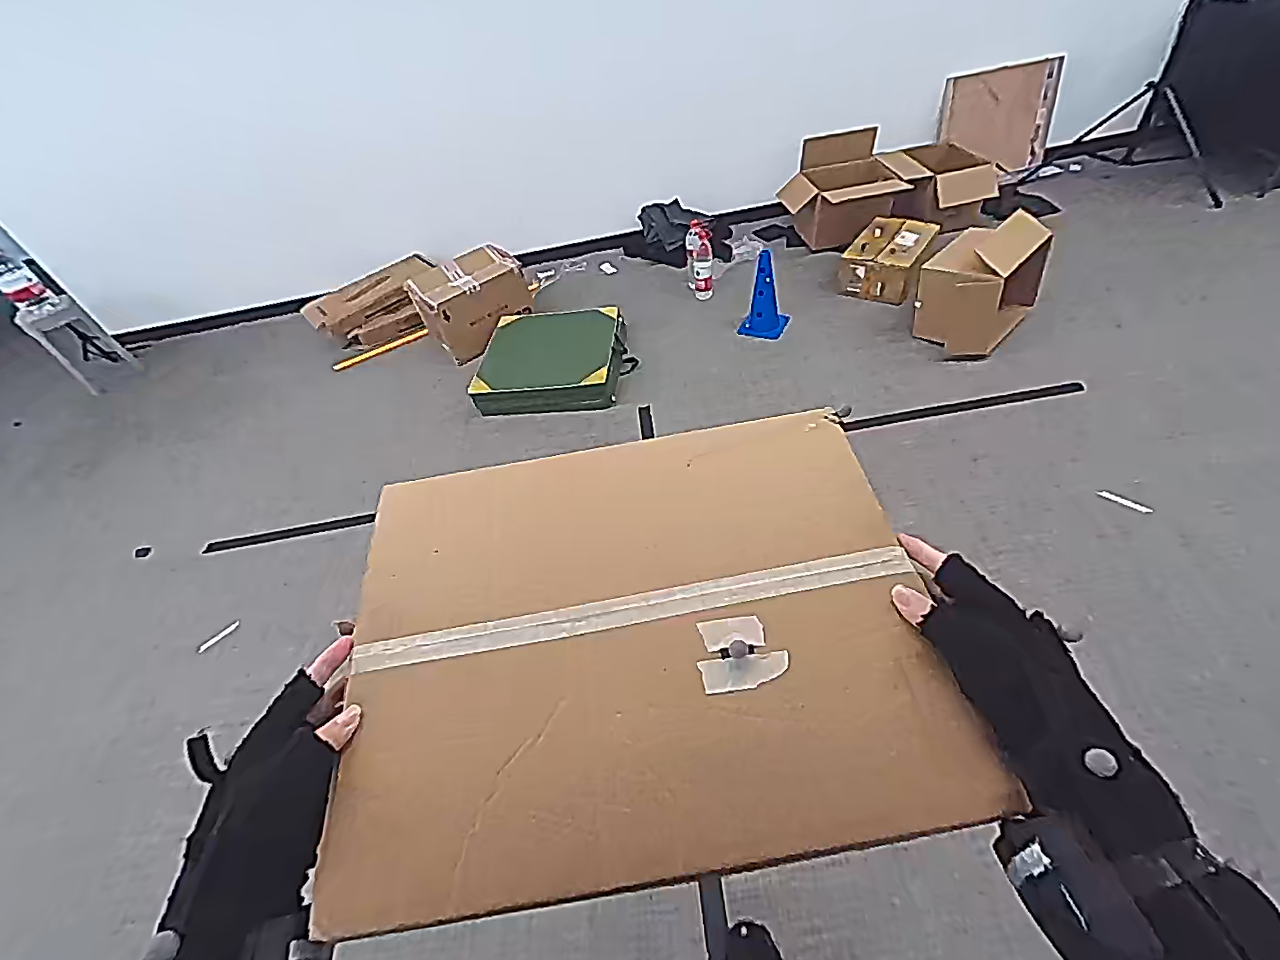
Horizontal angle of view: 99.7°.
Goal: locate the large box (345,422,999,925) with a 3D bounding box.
[{"bbox_3d":[0.011,0.188,0.524,0.408,0.320,0.320,-10,54,-1],"label":"large box"}]
